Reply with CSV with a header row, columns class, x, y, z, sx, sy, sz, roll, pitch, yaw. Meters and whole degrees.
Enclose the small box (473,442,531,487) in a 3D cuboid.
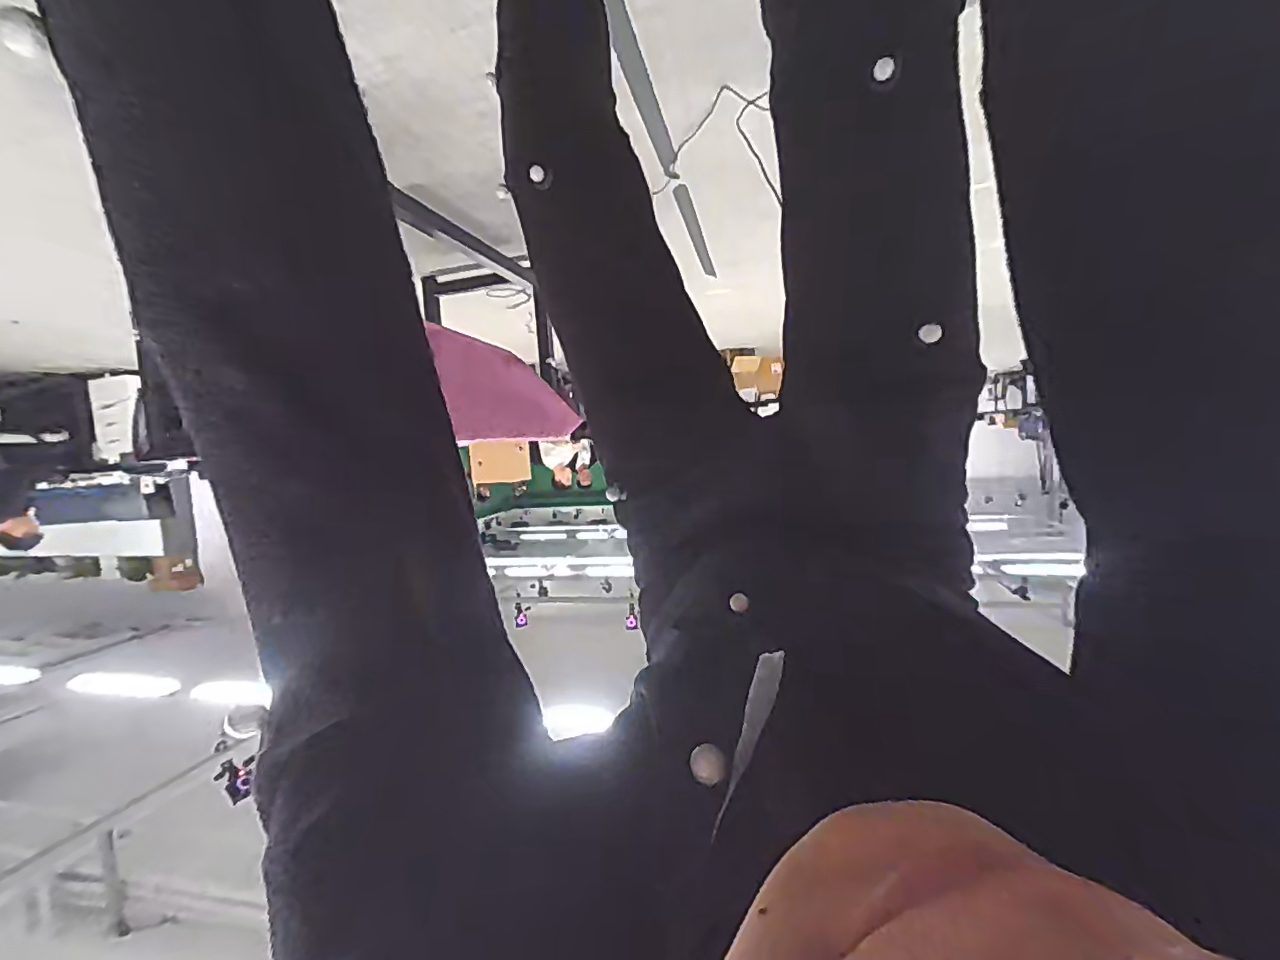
class,x,y,z,sx,sy,sz,roll,pitch,yaw
small box,-0.562,-0.065,2.195,0.179,0.176,0.168,-3,-175,18
